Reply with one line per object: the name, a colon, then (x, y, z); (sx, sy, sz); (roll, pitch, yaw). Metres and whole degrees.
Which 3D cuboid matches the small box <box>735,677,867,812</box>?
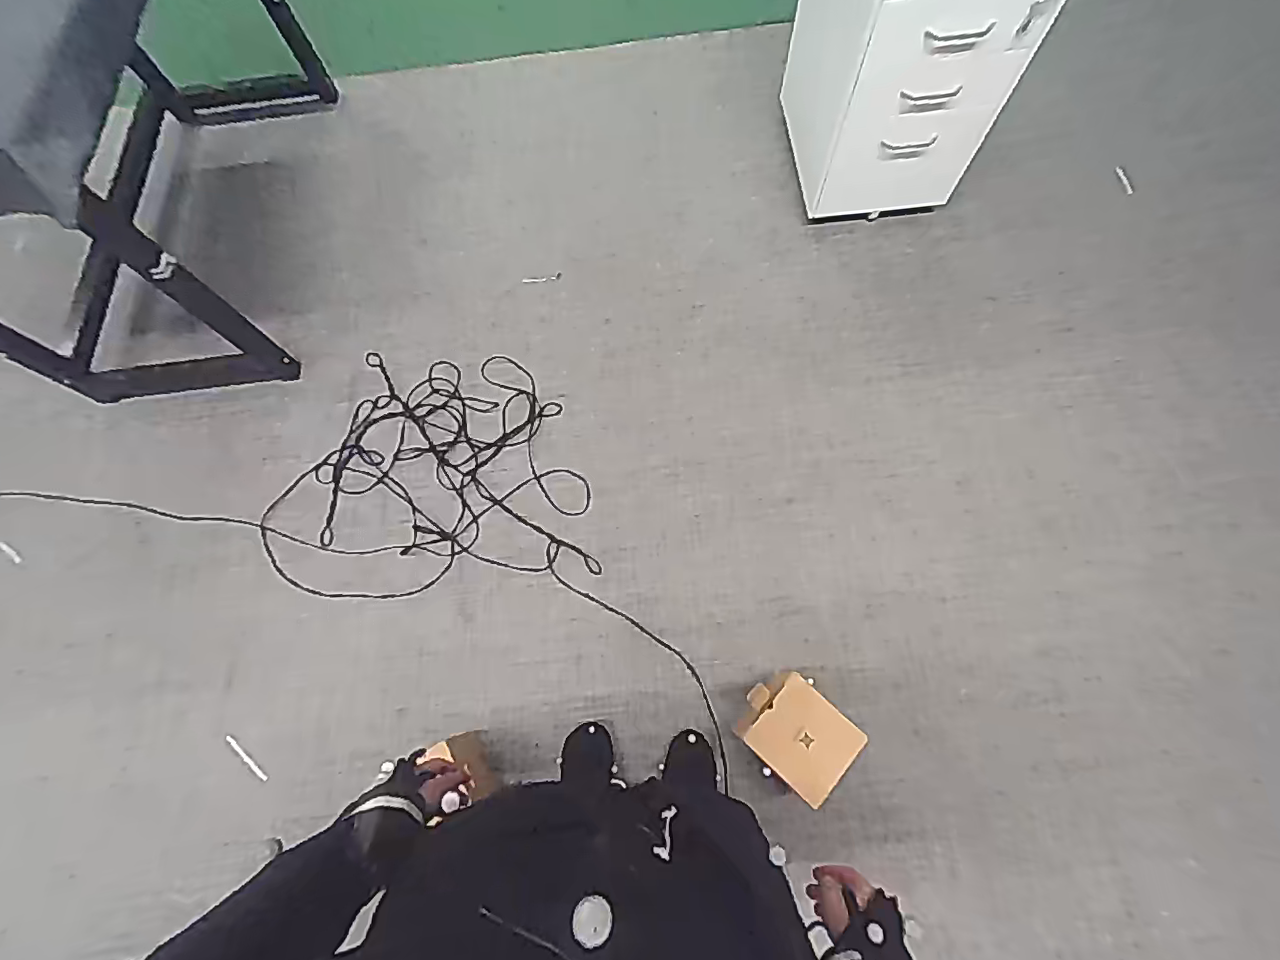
small box: (0.312, 0.514, 1.085); (0.179, 0.176, 0.168); (41, 77, 16)
